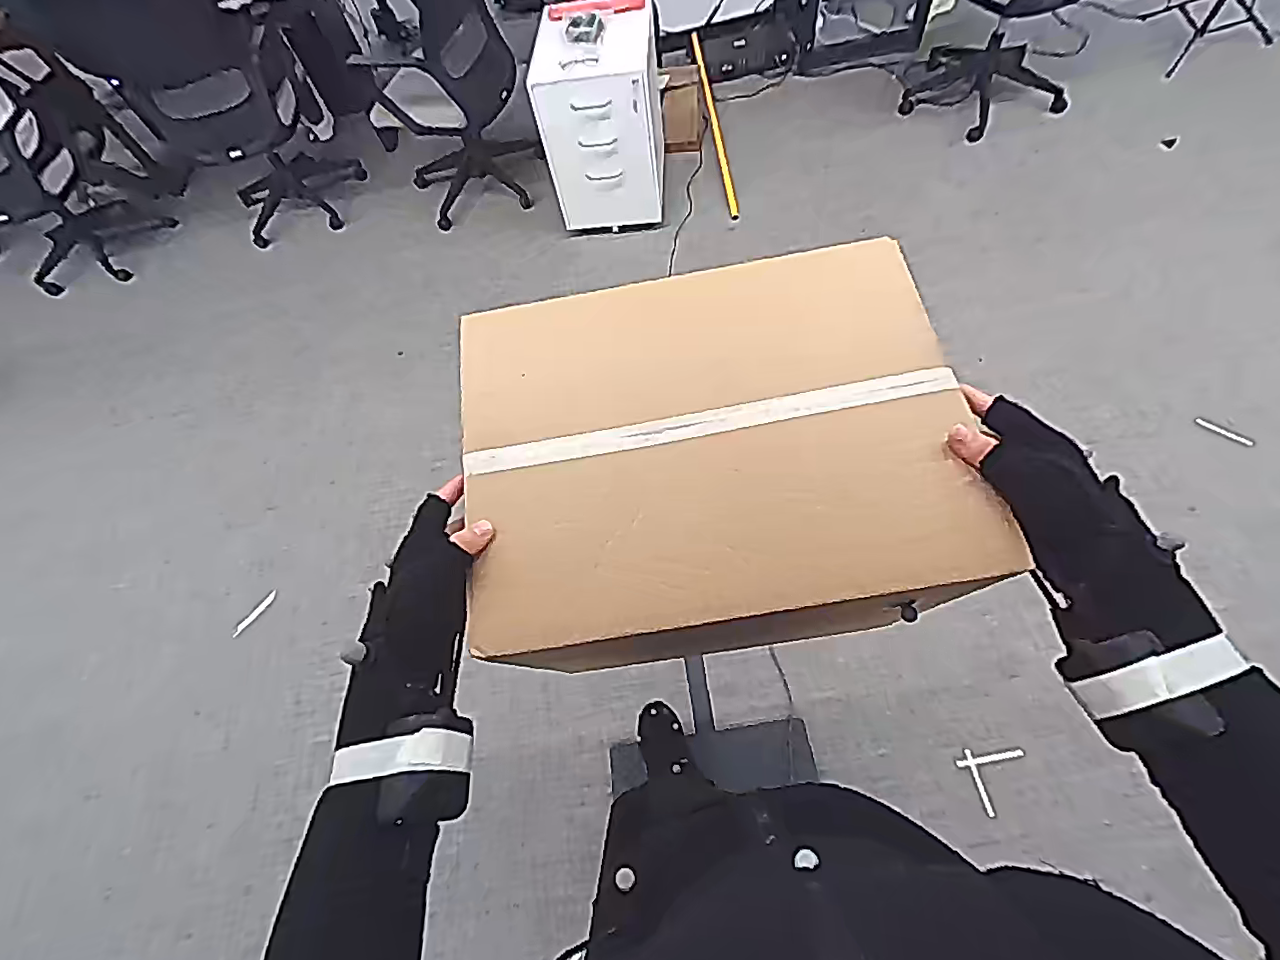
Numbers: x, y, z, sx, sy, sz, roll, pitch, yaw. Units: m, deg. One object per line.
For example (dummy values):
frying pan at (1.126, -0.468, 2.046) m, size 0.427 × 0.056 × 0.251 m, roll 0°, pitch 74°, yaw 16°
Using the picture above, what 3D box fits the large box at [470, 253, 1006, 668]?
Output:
large box at (0.070, 0.013, 0.593) m, size 0.408 × 0.320 × 0.320 m, roll -9°, pitch 67°, yaw 2°

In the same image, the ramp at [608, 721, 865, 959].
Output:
ramp at (0.208, 1.028, 1.052) m, size 0.509 × 0.206 × 0.991 m, roll -11°, pitch 61°, yaw 2°
